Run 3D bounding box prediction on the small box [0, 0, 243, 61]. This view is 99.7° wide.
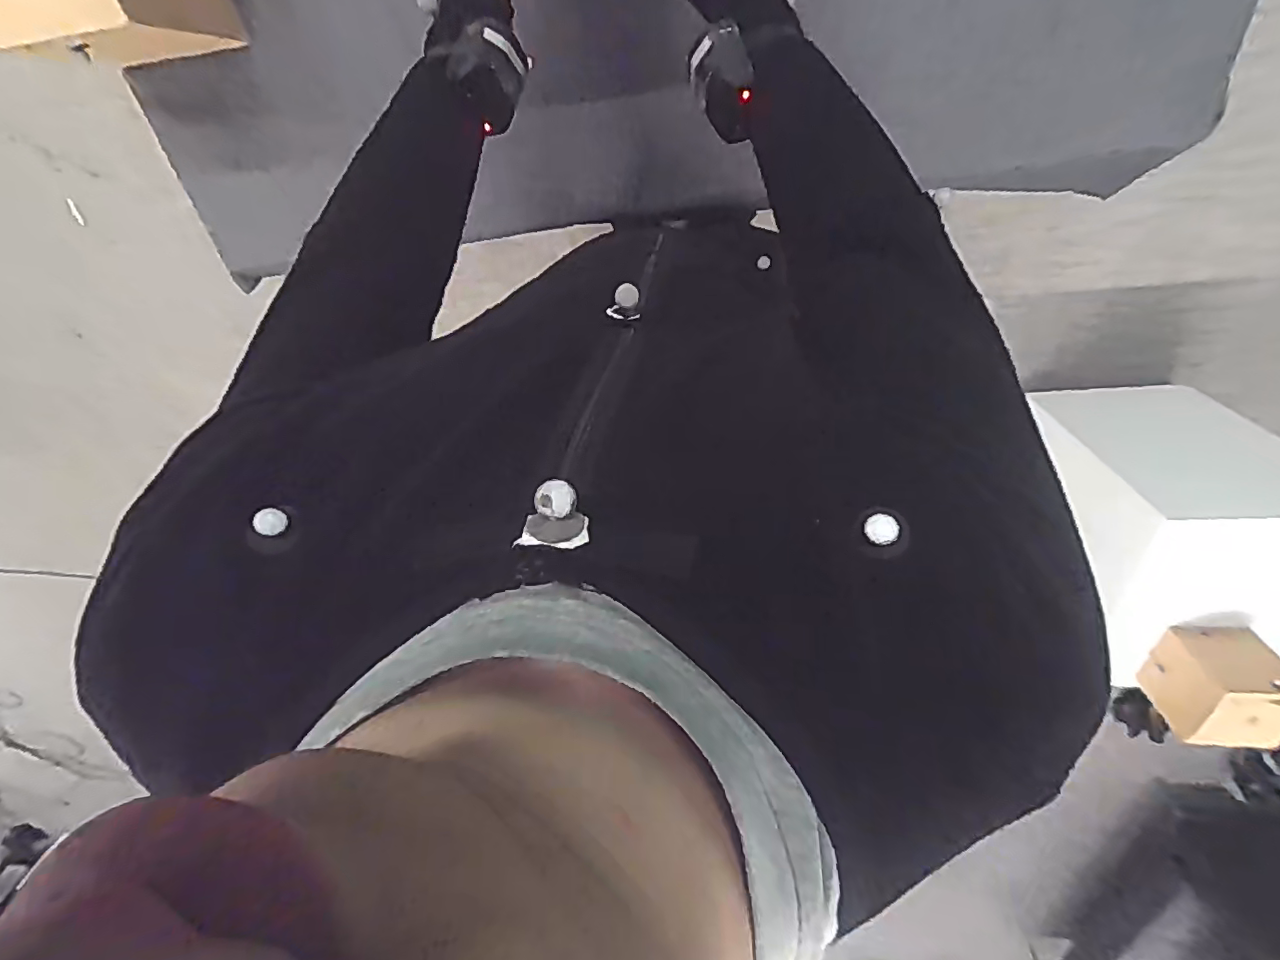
[{"bbox_3d":[-0.529,-0.502,0.496,0.179,0.176,0.168,-4,125,6],"label":"small box"}]

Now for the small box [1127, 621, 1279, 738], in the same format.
[{"bbox_3d":[1.209,0.426,1.159,0.168,0.176,0.179,-1,125,5],"label":"small box"}]
